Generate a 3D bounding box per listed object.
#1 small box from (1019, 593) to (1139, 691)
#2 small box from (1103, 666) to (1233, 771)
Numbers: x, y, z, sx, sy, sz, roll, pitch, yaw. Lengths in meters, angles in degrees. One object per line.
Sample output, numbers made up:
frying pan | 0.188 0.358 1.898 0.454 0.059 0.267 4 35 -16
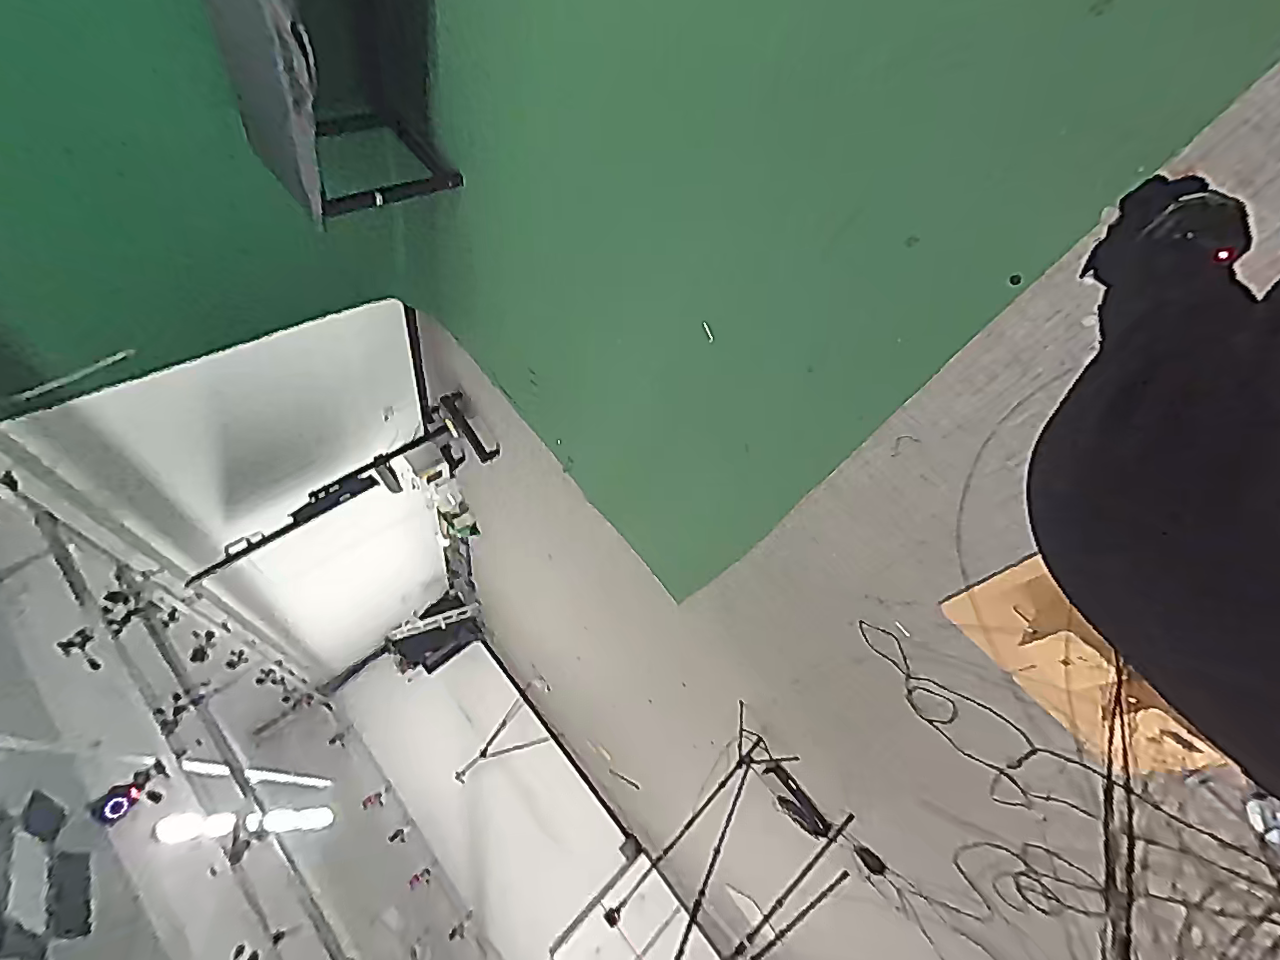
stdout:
small box | 1.203 0.443 1.481 0.168 0.176 0.179 45 148 15
small box | 1.370 0.614 1.402 0.168 0.176 0.179 44 148 20
